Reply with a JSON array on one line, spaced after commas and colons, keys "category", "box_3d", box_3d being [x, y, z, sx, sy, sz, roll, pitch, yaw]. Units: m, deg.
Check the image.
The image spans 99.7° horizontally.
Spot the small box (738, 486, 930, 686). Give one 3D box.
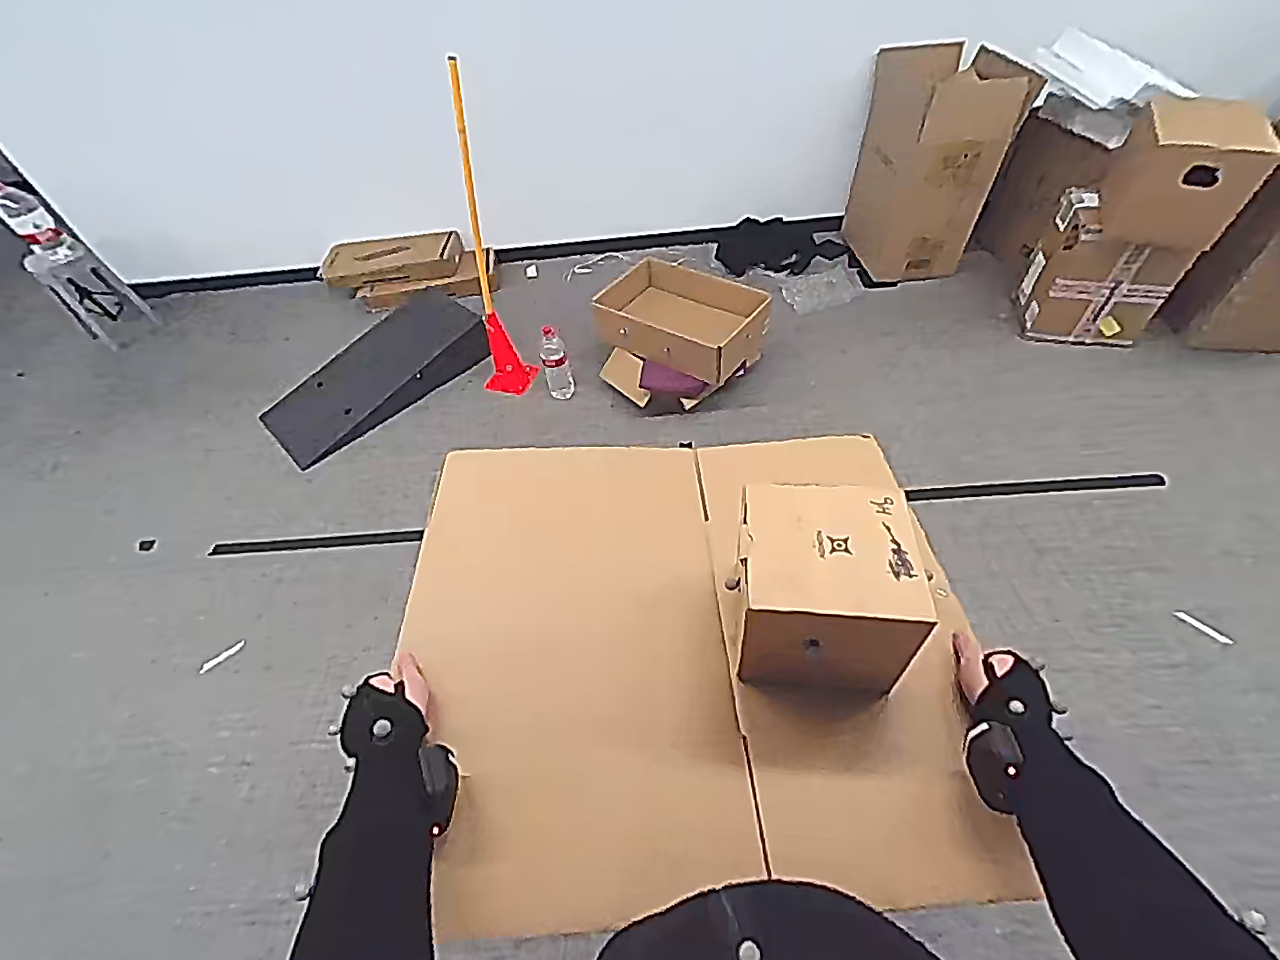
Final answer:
[{"category": "small box", "box_3d": [0.205, 0.125, 0.627, 0.179, 0.176, 0.168, 2, 48, 8]}]
